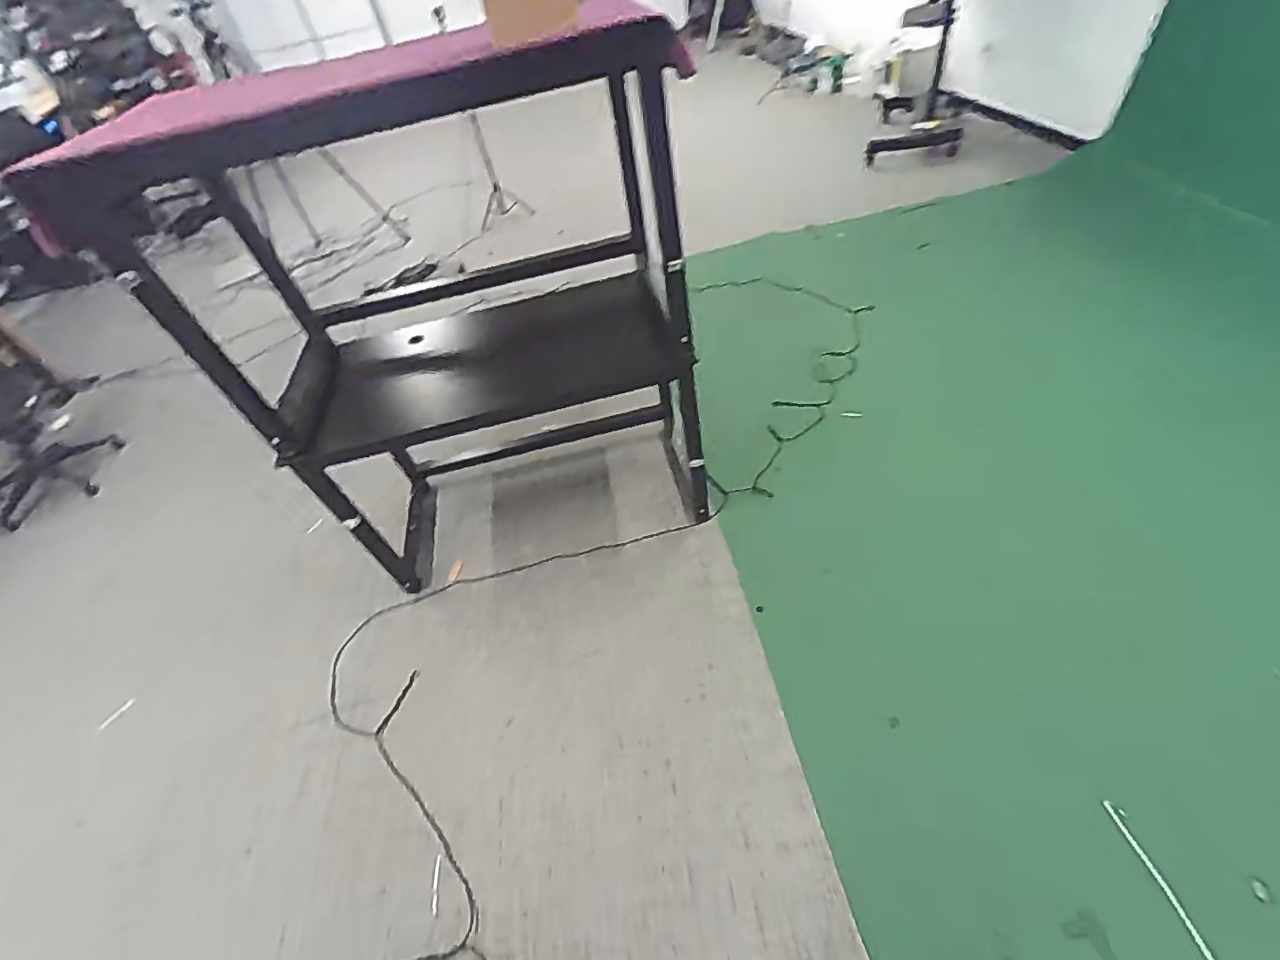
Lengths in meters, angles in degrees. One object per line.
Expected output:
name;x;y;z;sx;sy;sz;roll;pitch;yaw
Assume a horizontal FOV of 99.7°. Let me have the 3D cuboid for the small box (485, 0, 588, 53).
small box;-0.206;-0.939;1.025;0.179;0.176;0.168;-12;46;3
